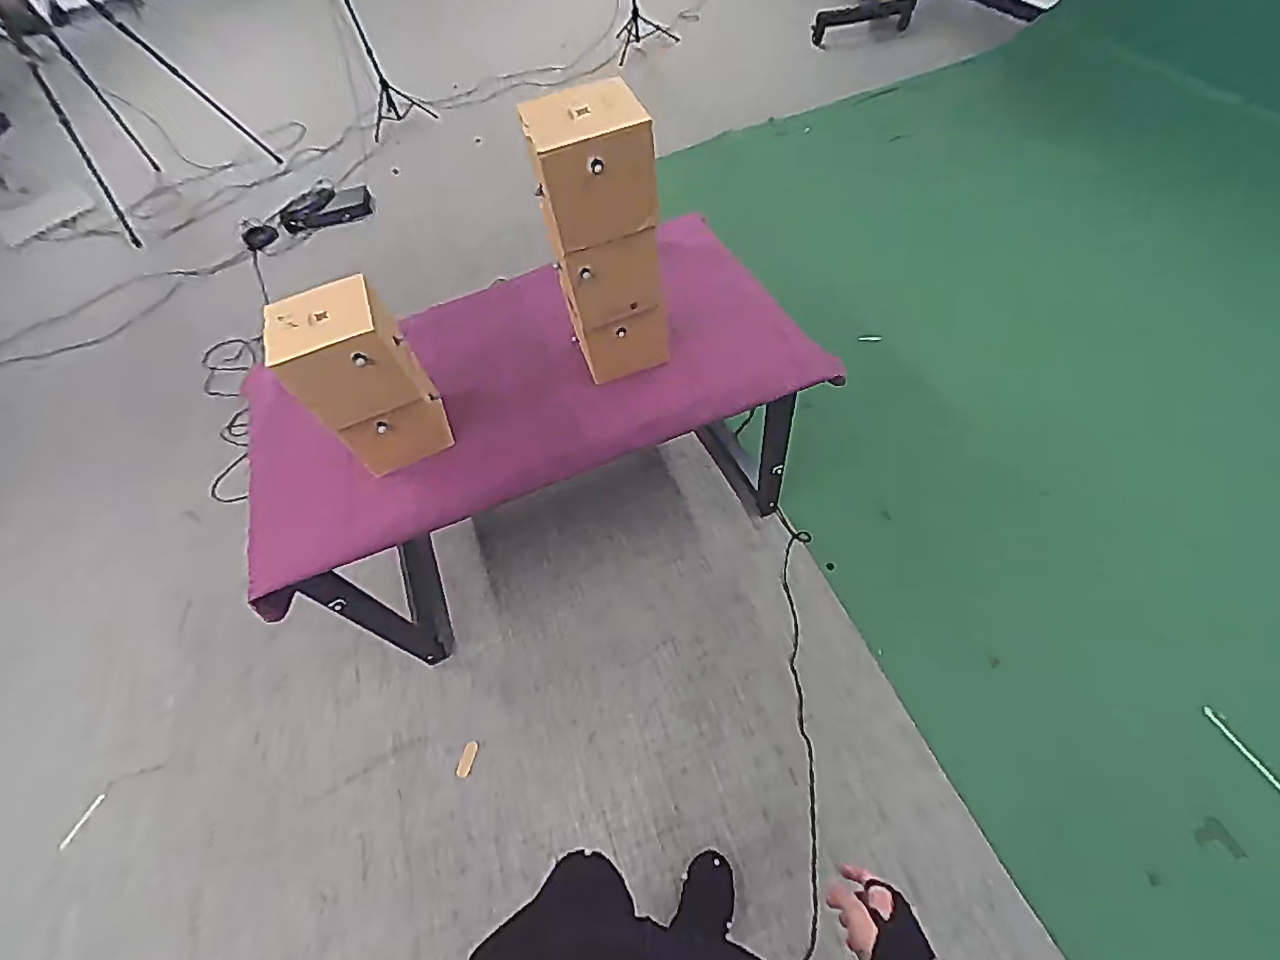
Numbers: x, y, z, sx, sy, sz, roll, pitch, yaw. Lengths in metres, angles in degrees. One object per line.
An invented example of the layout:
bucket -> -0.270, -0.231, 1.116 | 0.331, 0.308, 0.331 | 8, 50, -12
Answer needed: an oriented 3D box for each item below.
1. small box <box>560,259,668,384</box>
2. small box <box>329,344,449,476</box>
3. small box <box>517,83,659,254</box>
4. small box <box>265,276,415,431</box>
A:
small box -> -0.051, -0.333, 1.156 | 0.179, 0.176, 0.168 | -20, 57, -6
small box -> -0.506, -0.138, 1.094 | 0.179, 0.176, 0.168 | -24, 58, -7
small box -> -0.079, -0.495, 0.873 | 0.179, 0.176, 0.168 | -18, 58, -4
small box -> -0.516, -0.217, 0.948 | 0.179, 0.176, 0.168 | -23, 57, -7
